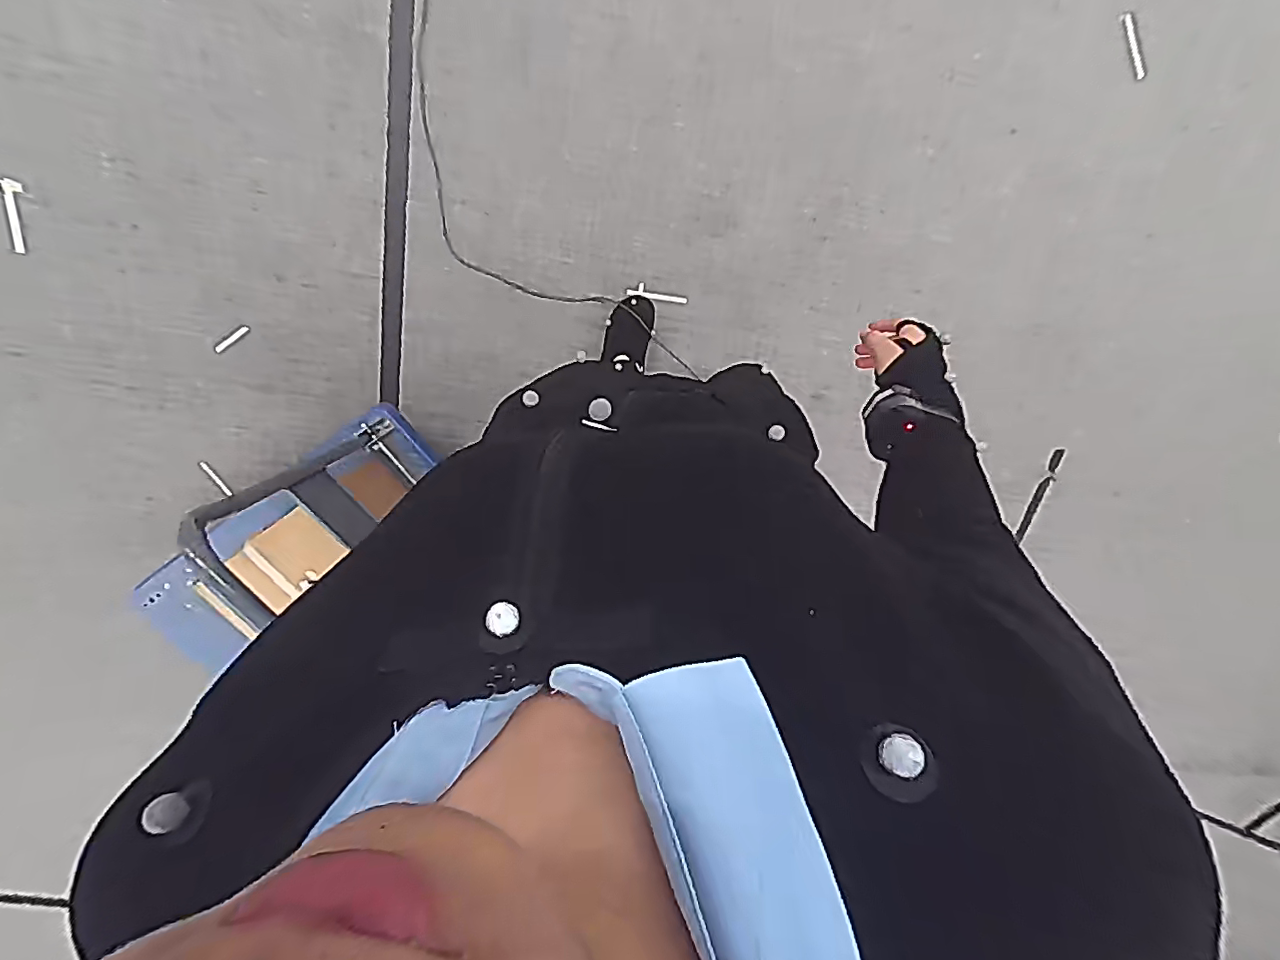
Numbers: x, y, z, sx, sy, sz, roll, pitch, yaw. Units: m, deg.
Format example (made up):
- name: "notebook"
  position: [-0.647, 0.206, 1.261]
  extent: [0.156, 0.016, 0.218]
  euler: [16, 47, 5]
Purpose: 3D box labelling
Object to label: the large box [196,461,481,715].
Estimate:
- name: "large box"
  position: [-0.639, 0.230, 1.231]
  extent: [0.320, 0.320, 0.408]
  euler: [-34, 106, 8]
